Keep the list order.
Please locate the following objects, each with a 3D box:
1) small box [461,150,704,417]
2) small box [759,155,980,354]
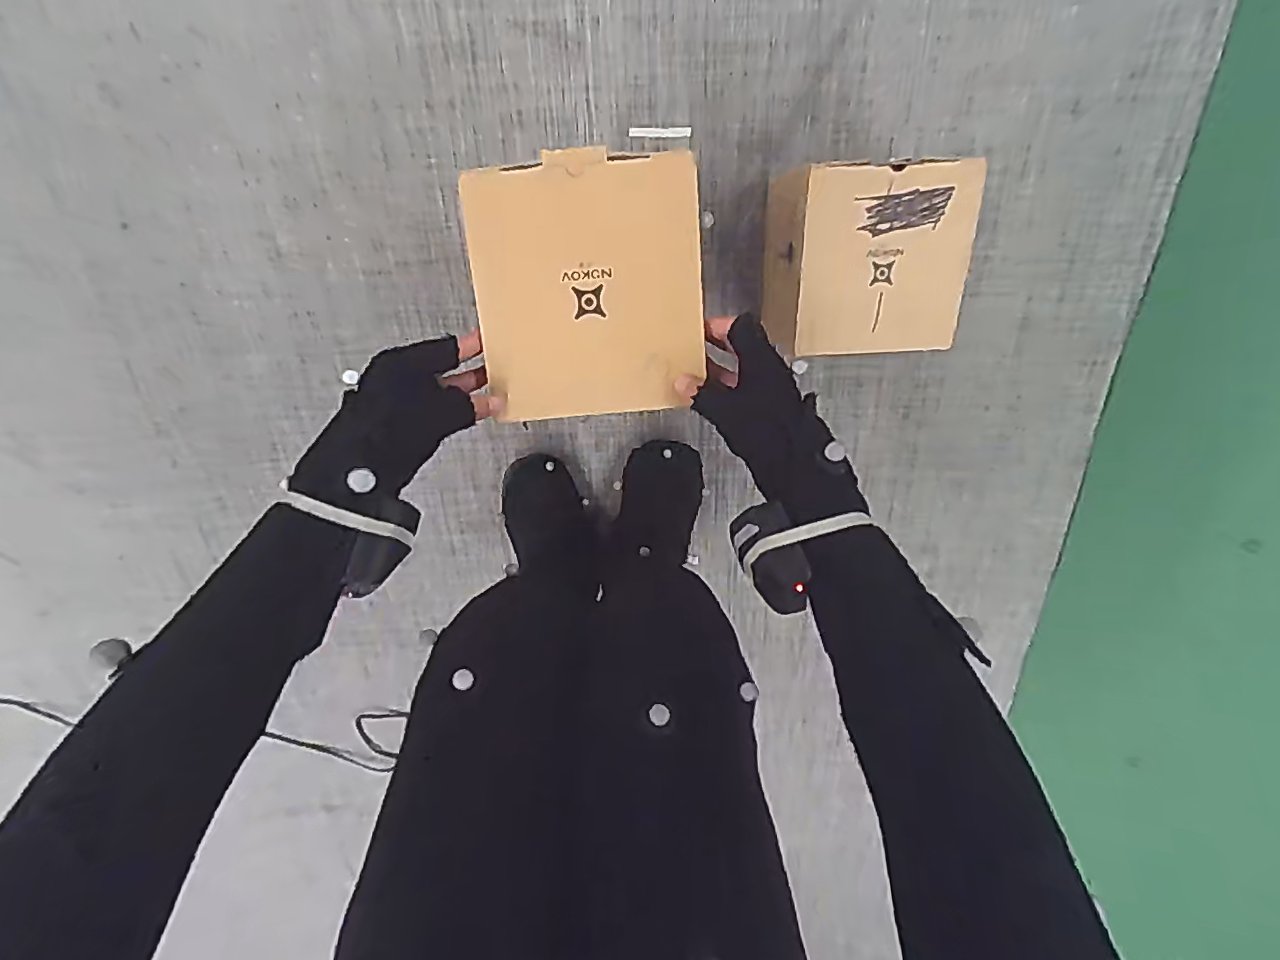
[{"bbox_3d":[-0.037,-0.160,0.472,0.168,0.176,0.179,-5,105,0],"label":"small box"},{"bbox_3d":[0.234,-0.248,0.602,0.168,0.176,0.179,-3,116,0],"label":"small box"}]
